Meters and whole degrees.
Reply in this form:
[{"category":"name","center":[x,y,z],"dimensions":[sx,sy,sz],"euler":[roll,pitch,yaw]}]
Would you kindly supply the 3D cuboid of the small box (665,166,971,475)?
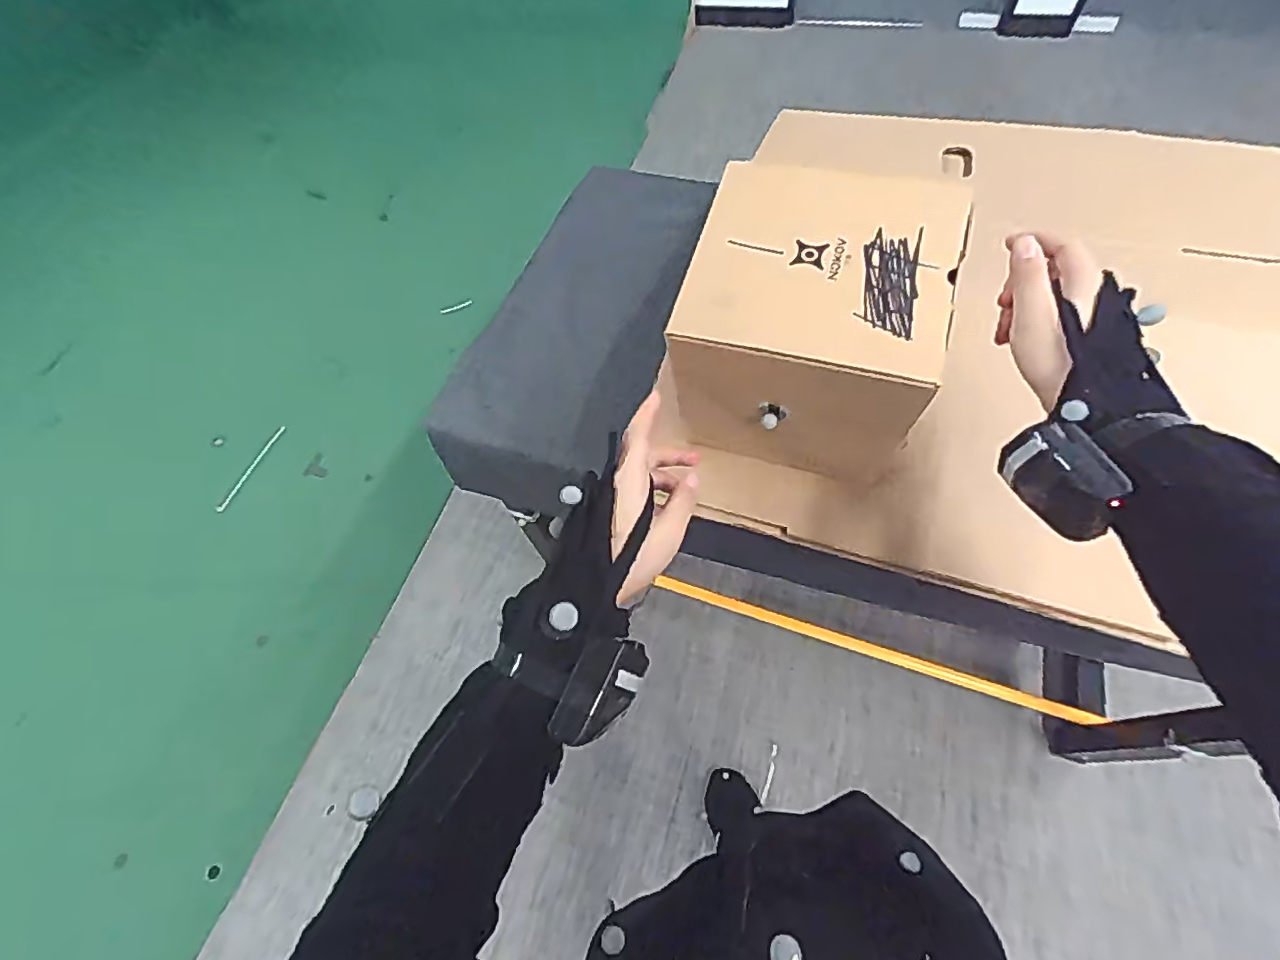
[{"category":"small box","center":[0.135,-0.118,0.446],"dimensions":[0.179,0.176,0.168],"euler":[15,71,15]}]
